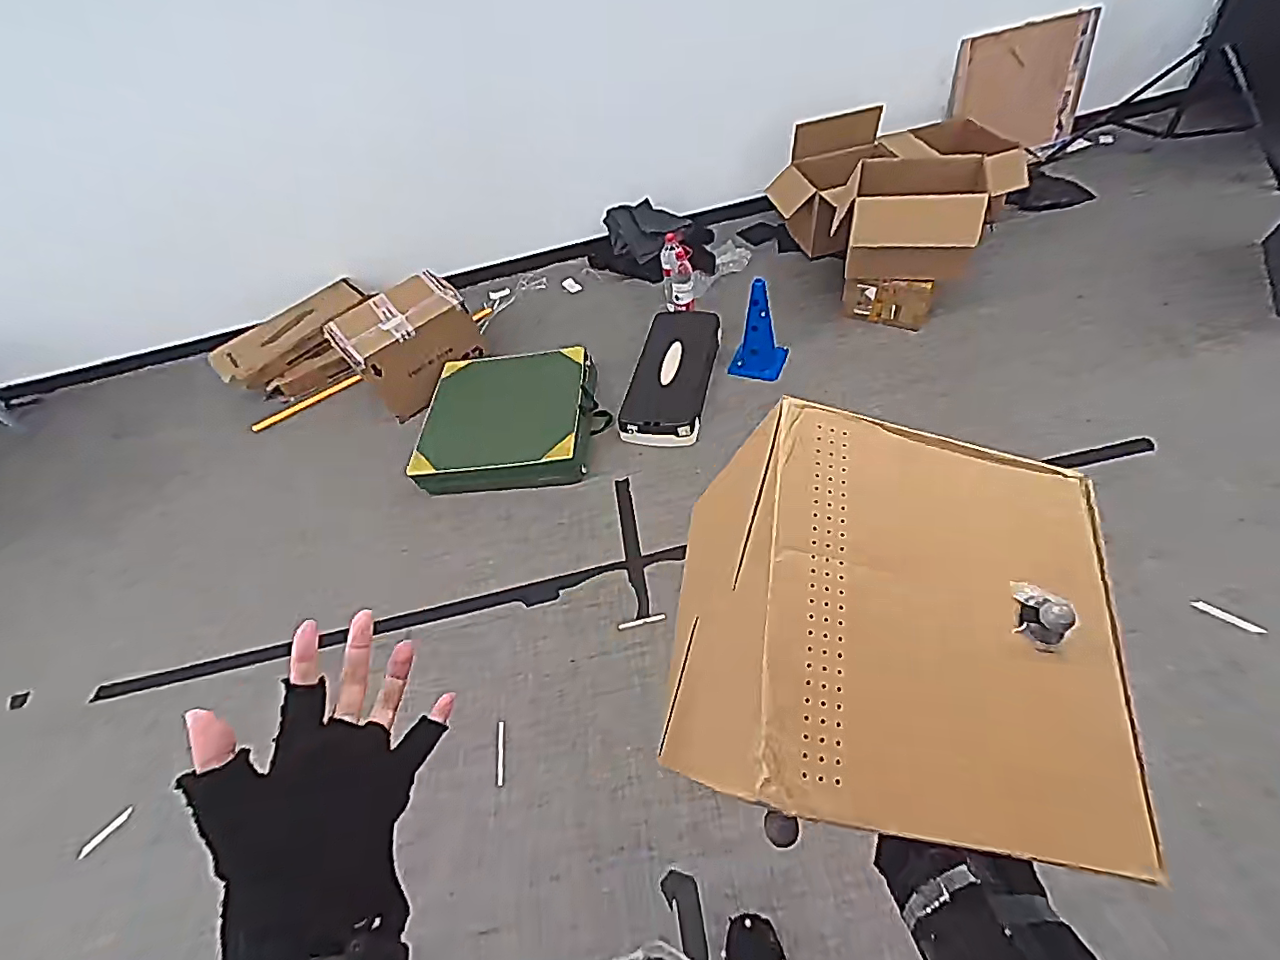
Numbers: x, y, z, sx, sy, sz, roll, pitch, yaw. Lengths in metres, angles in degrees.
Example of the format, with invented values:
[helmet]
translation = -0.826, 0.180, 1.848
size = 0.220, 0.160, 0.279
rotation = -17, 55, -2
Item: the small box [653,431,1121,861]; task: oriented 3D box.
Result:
[small box]
translation = 0.114, 0.093, 0.318
size = 0.176, 0.168, 0.179
rotation = 13, 65, -5
